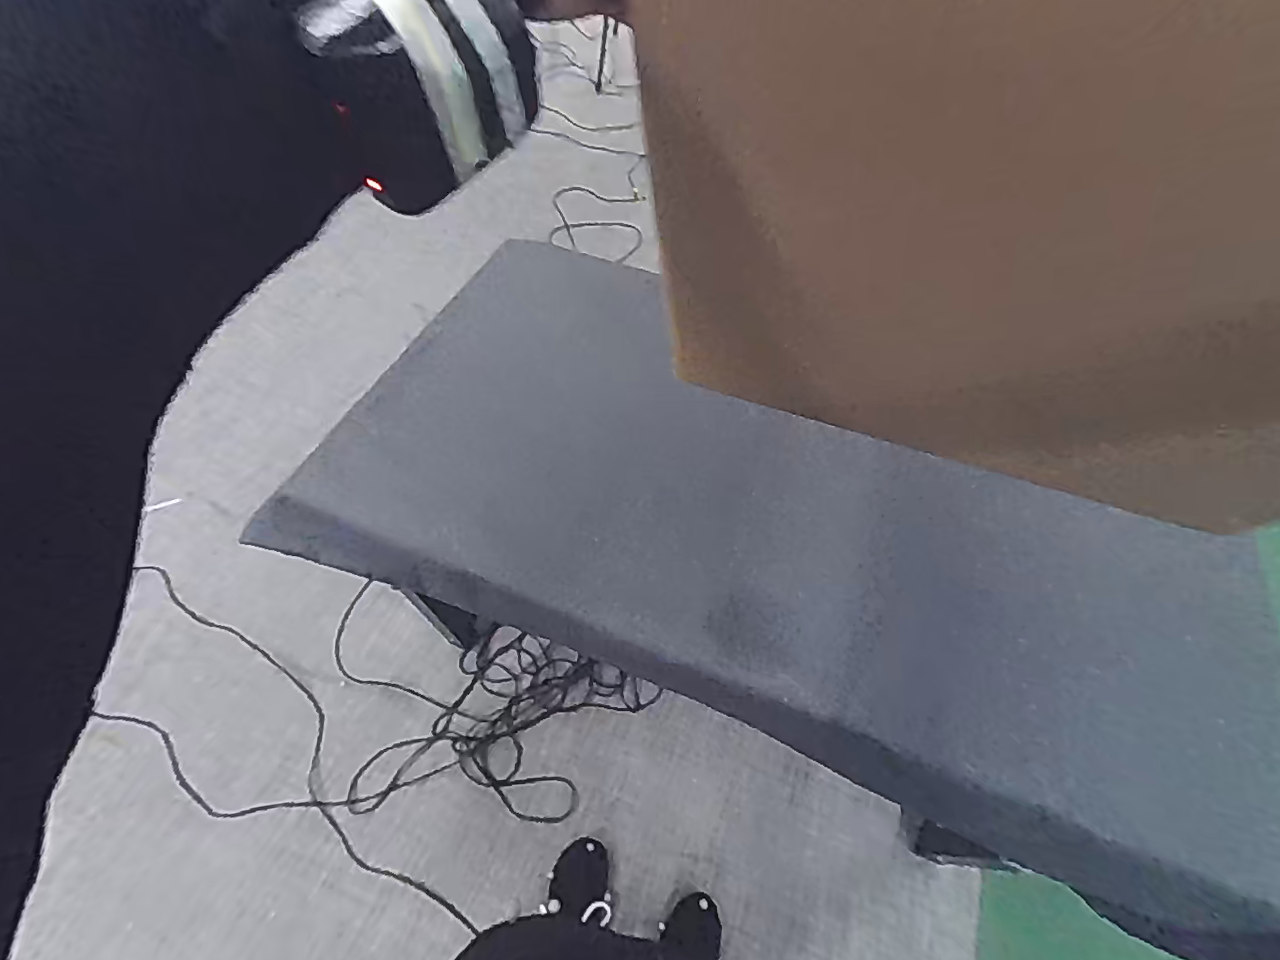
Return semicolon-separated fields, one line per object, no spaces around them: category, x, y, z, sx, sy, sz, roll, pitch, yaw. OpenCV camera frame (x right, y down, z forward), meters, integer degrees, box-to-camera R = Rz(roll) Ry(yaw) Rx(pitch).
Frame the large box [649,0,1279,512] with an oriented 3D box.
large box;0.248;-0.216;0.323;0.408;0.320;0.320;18;74;12
